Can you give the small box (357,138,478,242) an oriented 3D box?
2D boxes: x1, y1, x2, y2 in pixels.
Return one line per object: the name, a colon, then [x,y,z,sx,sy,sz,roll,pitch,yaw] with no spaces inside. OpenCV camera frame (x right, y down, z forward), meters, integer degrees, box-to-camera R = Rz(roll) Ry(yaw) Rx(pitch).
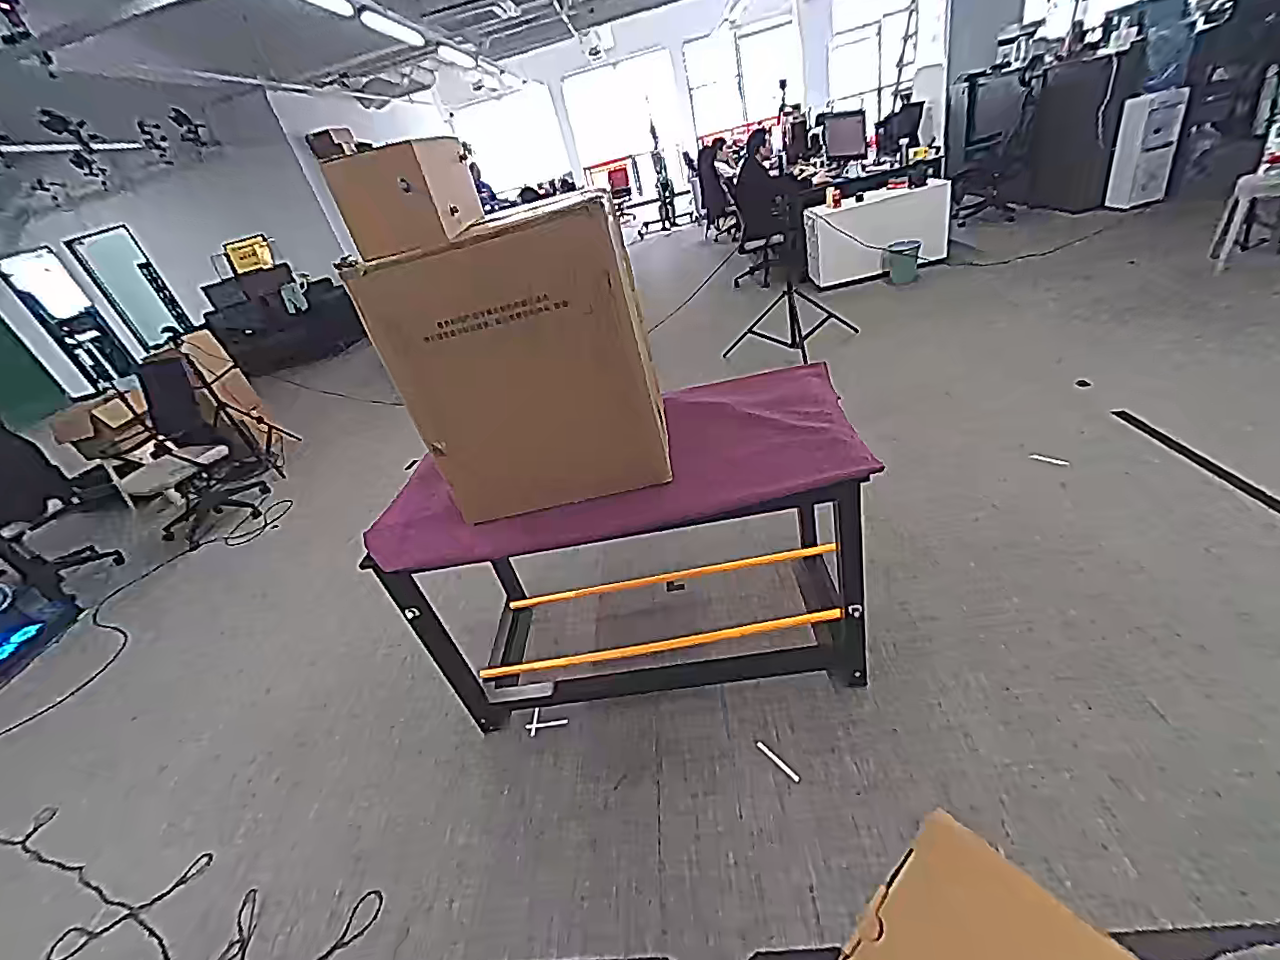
small box: [-0.473,-0.633,1.185,0.168,0.176,0.179,-12,32,6]
